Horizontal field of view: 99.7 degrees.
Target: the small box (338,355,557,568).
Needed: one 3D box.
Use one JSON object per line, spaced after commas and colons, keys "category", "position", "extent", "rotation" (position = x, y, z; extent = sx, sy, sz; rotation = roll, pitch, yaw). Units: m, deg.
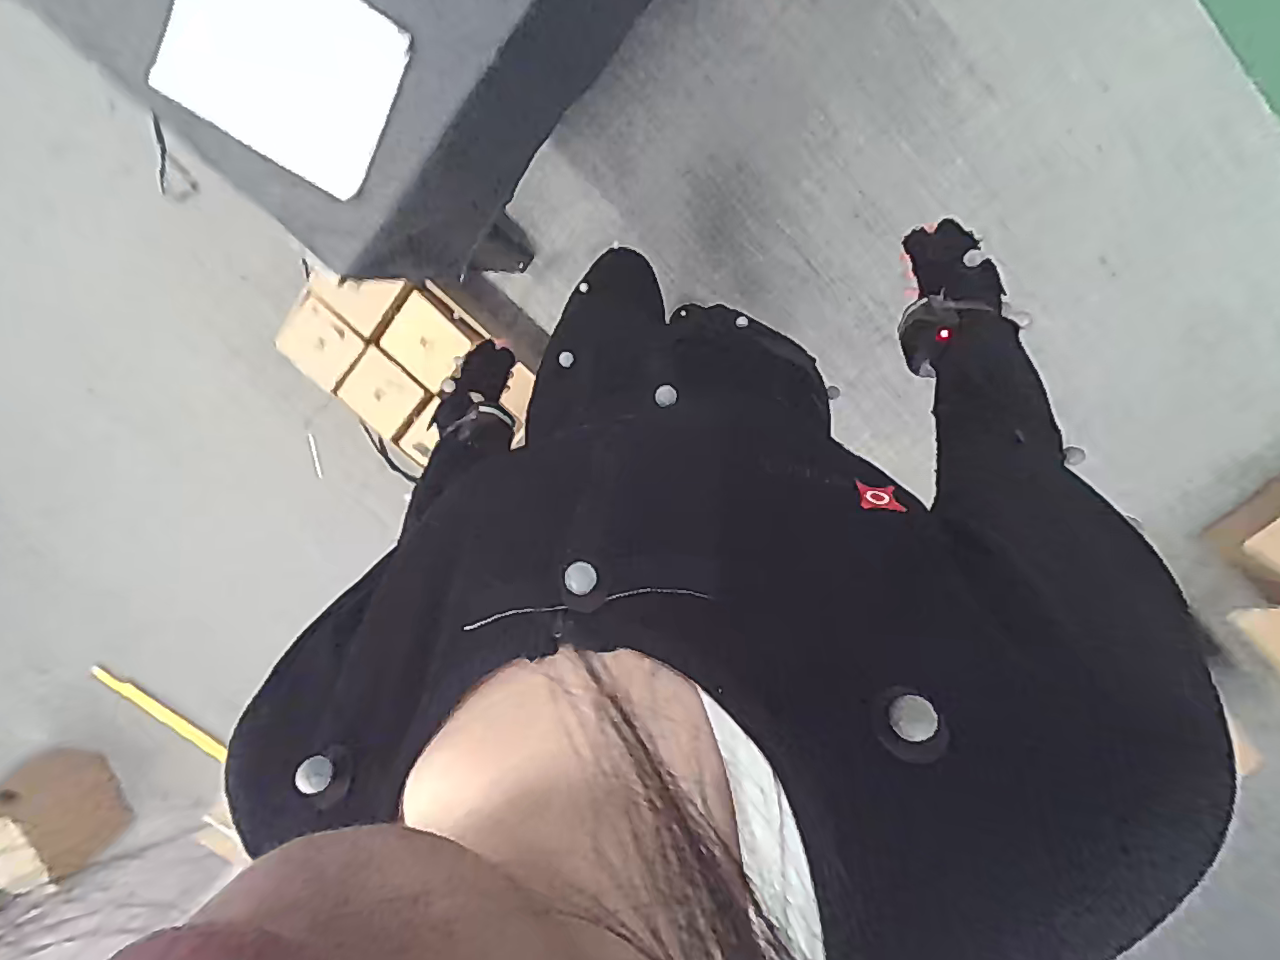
{"category": "small box", "position": [-0.218, -0.030, 0.643], "extent": [0.176, 0.179, 0.168], "rotation": [-33, 111, 0]}
